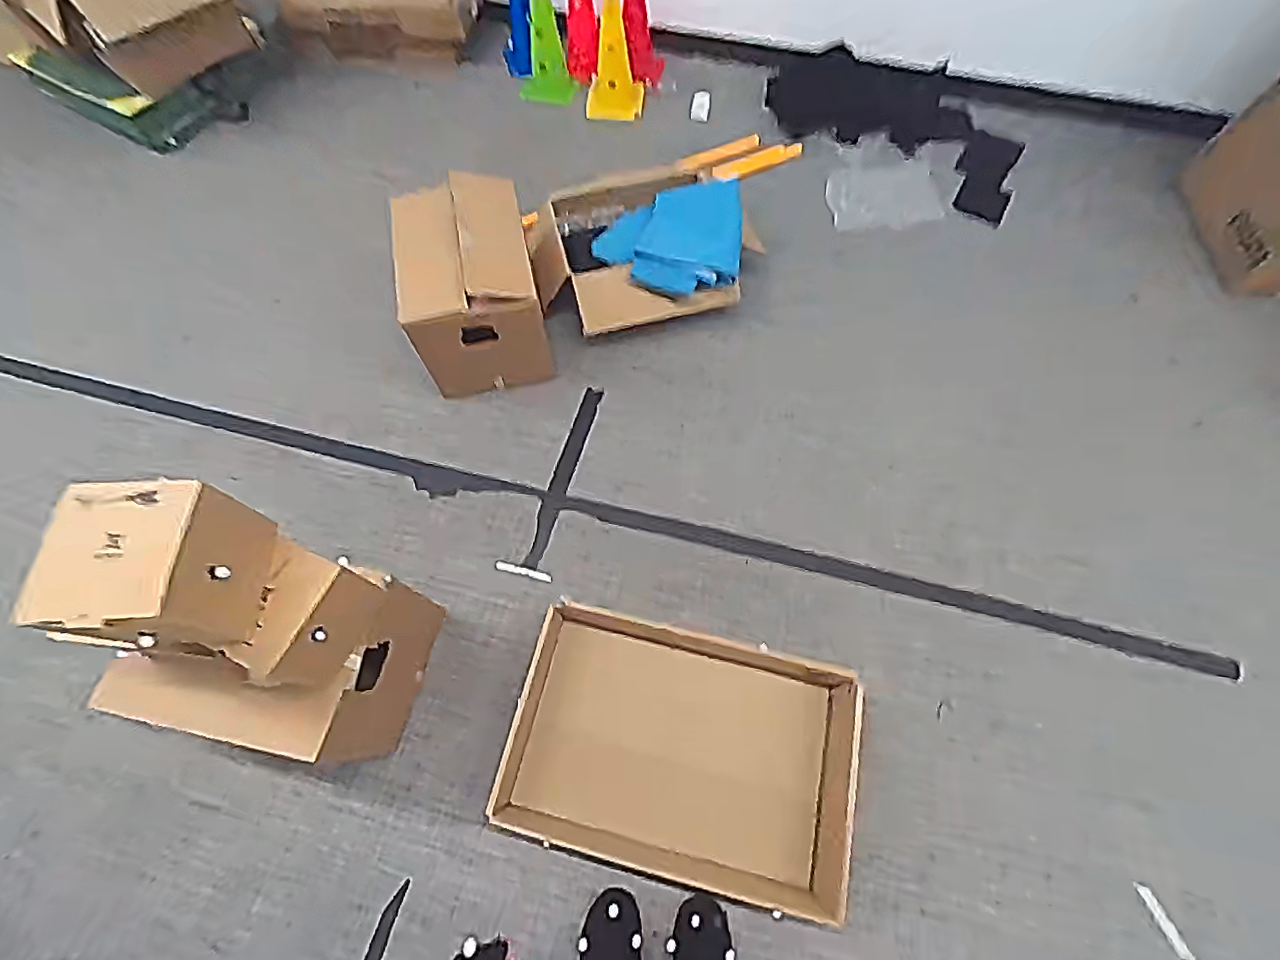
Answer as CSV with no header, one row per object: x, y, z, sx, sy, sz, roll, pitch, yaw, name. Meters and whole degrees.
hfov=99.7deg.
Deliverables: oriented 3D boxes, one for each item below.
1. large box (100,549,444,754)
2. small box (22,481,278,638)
-0.671,0.333,1.070,0.408,0.320,0.320,10,67,3,large box
-0.628,0.115,0.723,0.168,0.176,0.179,-2,66,-1,small box
